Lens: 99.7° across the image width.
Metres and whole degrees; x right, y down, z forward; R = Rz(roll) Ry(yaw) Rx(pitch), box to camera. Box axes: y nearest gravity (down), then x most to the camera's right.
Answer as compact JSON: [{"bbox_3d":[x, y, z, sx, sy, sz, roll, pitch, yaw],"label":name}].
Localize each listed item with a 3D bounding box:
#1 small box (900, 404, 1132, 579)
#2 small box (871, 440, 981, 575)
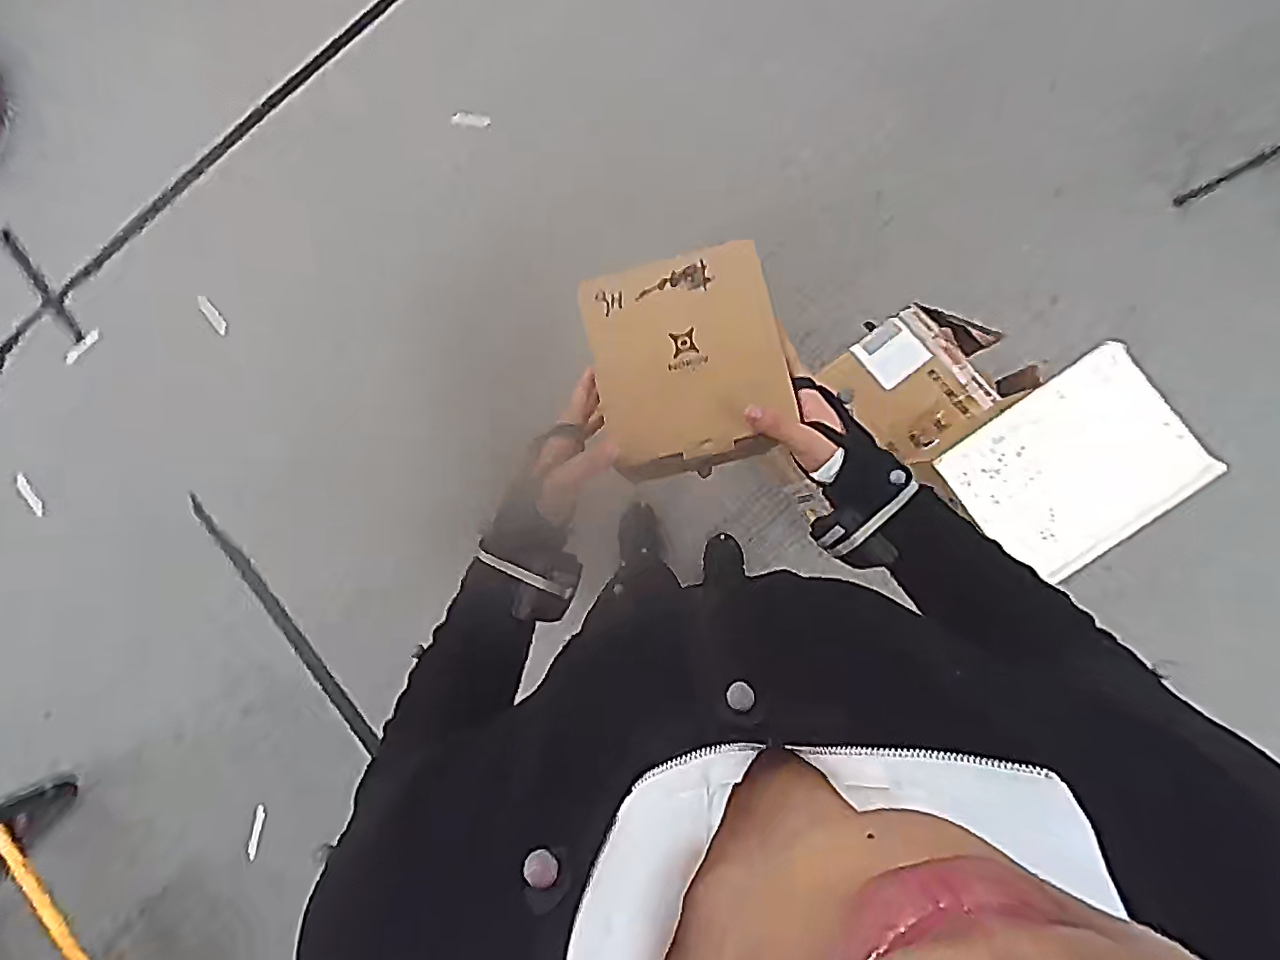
[{"bbox_3d":[0.517,0.016,0.774,0.179,0.176,0.168,-35,86,3],"label":"small box"},{"bbox_3d":[0.542,0.039,0.936,0.168,0.176,0.179,-38,85,1],"label":"small box"}]
